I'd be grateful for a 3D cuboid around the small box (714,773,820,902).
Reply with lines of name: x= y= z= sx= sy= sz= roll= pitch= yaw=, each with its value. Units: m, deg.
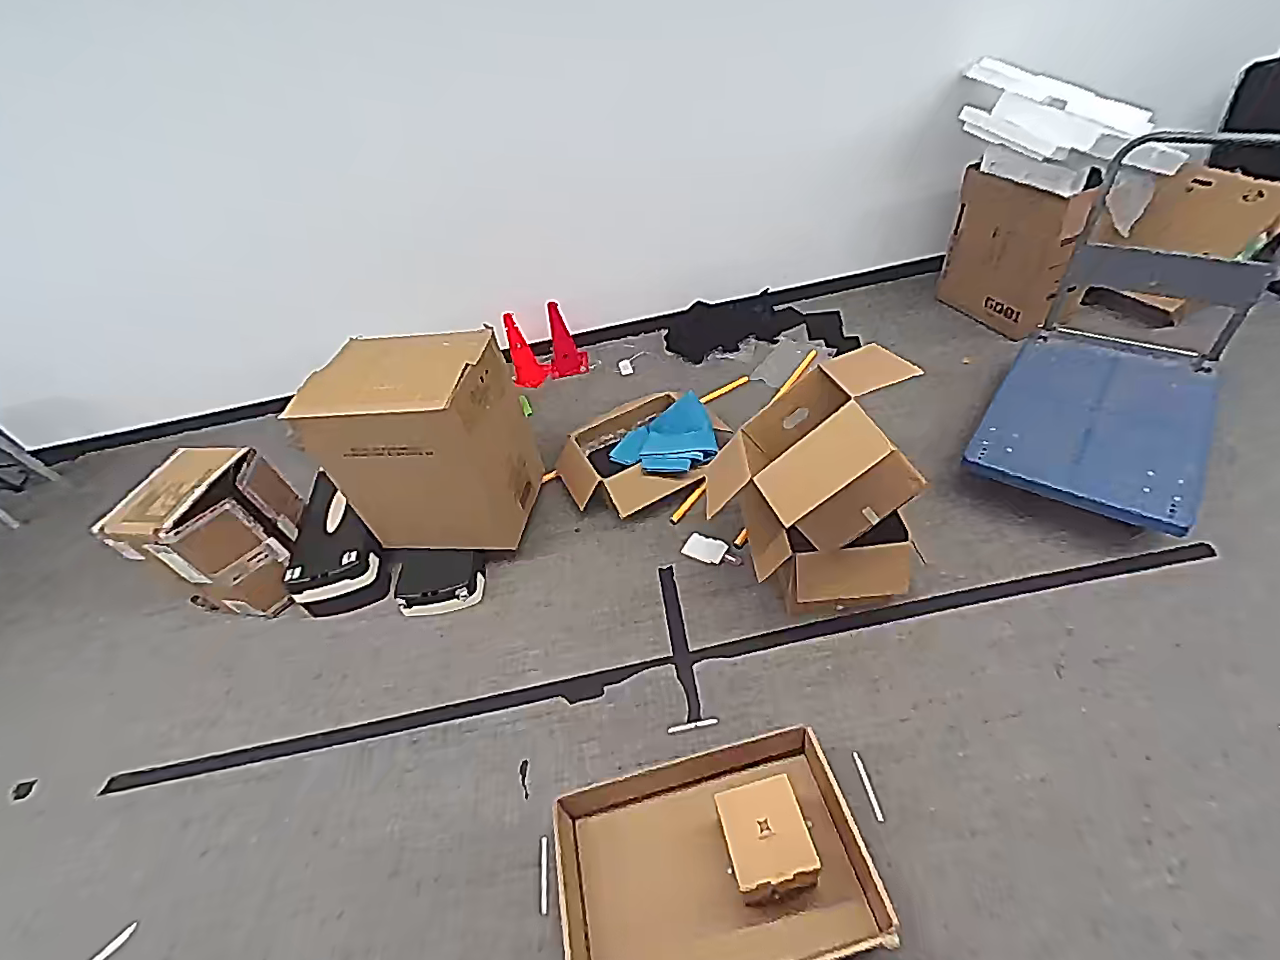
small box: x=0.264 y=0.762 z=1.152 sx=0.168 sy=0.176 sz=0.179 roll=-15 pitch=44 yaw=-2
